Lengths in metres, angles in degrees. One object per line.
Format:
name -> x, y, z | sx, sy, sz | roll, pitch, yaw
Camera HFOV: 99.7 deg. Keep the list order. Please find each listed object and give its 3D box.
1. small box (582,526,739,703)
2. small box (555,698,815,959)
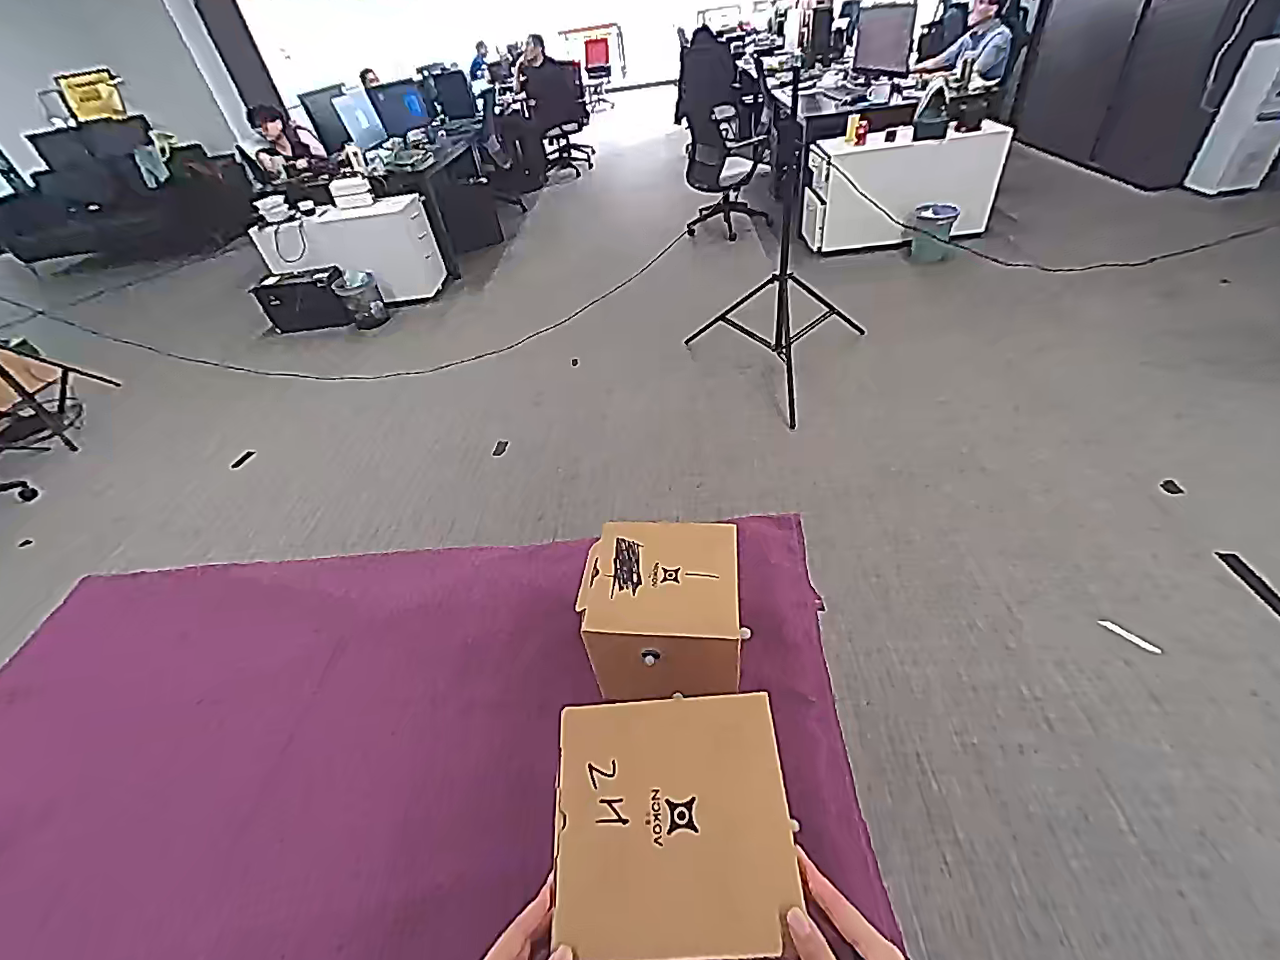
small box -> 0.038, 0.177, 0.702 | 0.179, 0.176, 0.168 | 0, 44, 8
small box -> 0.035, 0.299, 0.468 | 0.179, 0.176, 0.168 | -6, 52, 4
